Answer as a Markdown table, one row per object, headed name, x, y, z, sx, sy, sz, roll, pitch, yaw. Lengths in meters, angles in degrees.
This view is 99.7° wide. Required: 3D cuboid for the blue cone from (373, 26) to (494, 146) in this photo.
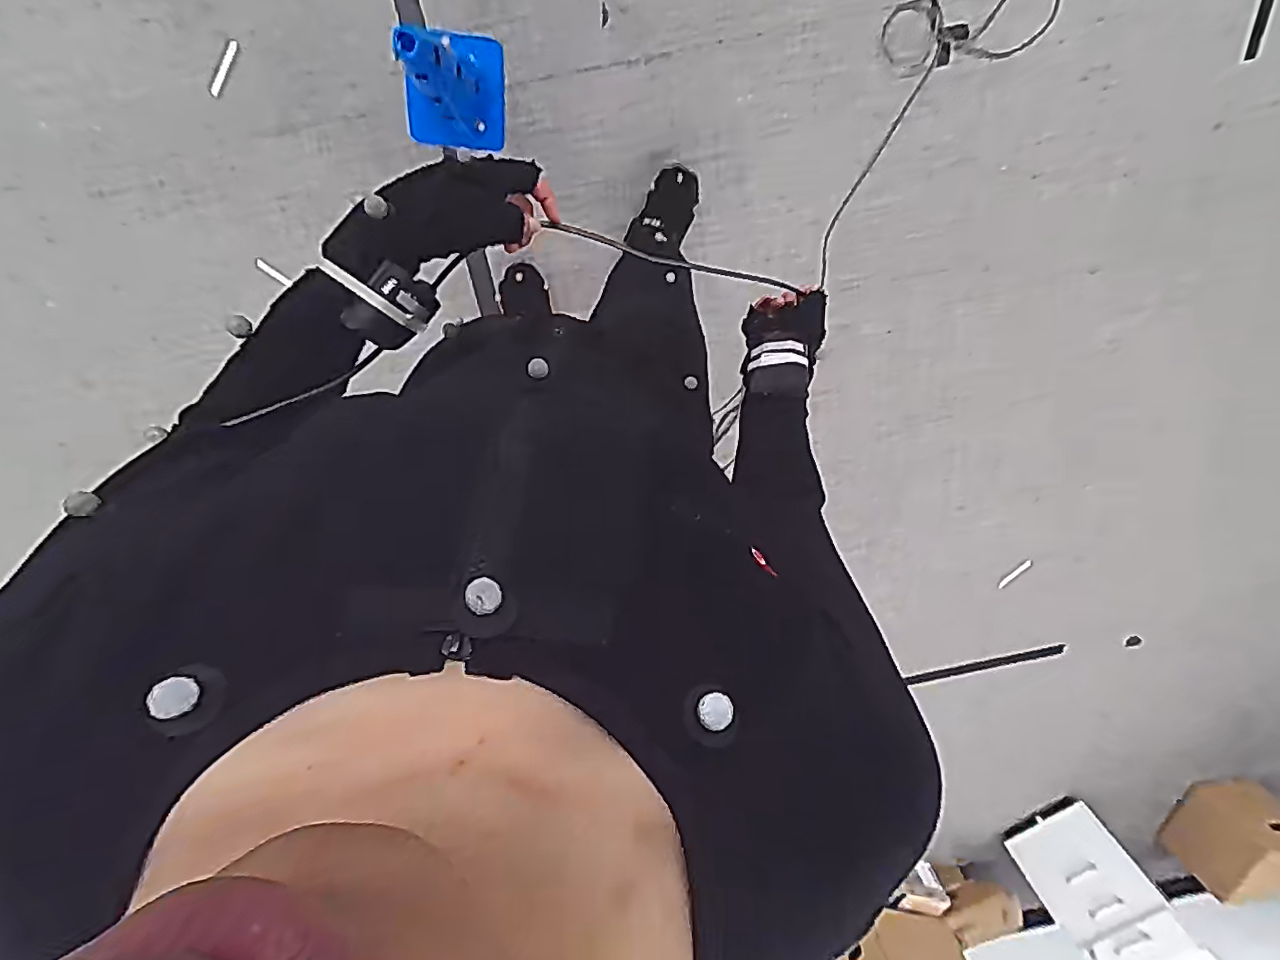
| name | x | y | z | sx | sy | sz | roll | pitch | yaw |
| --- | --- | --- | --- | --- | --- | --- | --- | --- | --- |
| blue cone | -0.387 | -0.738 | 0.977 | 0.192 | 0.380 | 0.193 | 4 | 115 | -7 |
